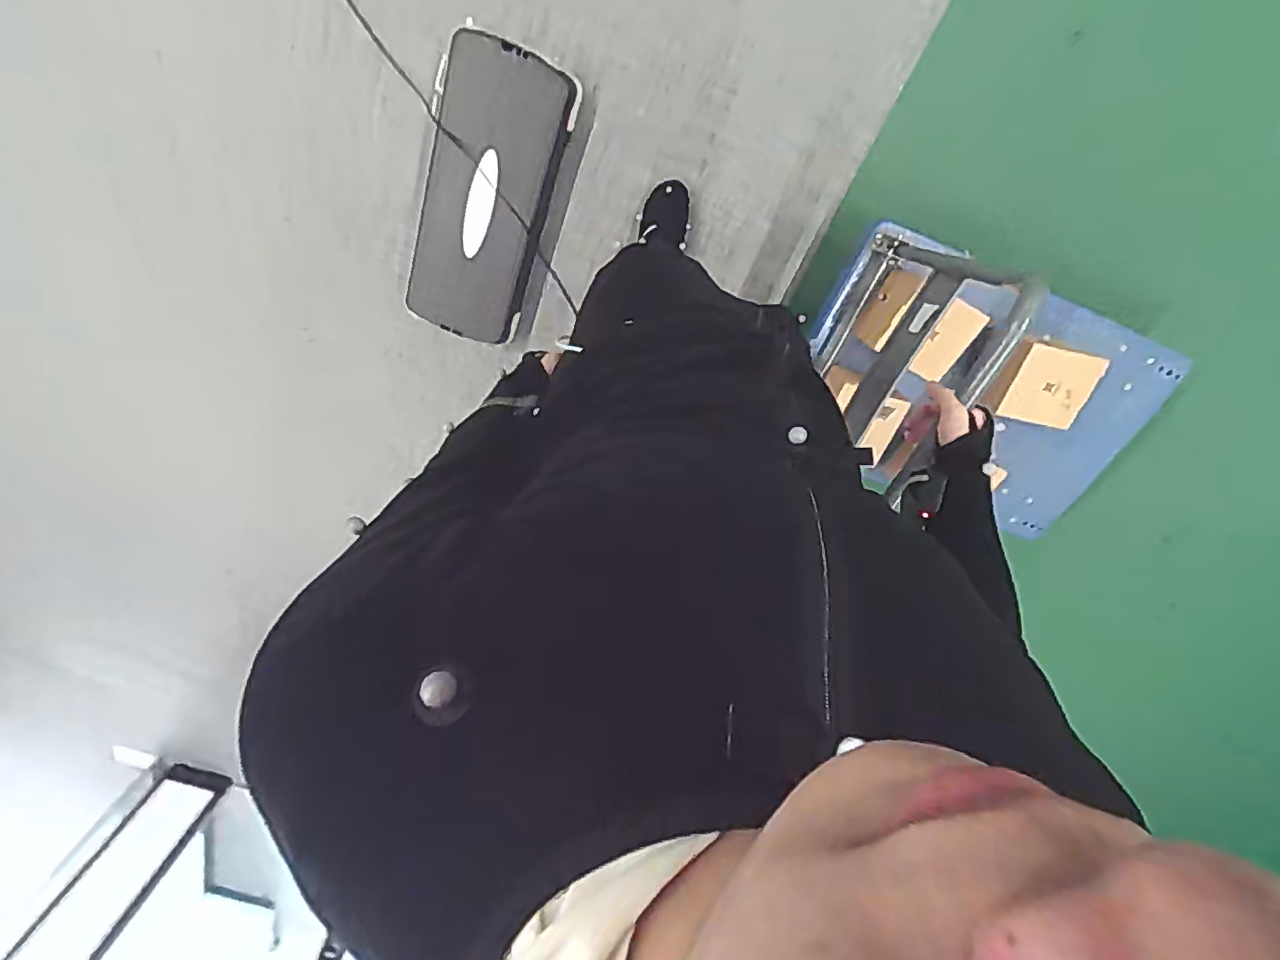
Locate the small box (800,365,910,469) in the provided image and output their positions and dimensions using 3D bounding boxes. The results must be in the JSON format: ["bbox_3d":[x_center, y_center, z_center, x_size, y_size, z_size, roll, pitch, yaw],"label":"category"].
[{"bbox_3d":[0.506,-0.159,1.306,0.168,0.176,0.179,17,119,-5],"label":"small box"}]

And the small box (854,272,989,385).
[{"bbox_3d":[0.613,-0.343,1.203,0.179,0.176,0.168,26,117,-10],"label":"small box"}]

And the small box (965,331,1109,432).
[{"bbox_3d":[0.894,-0.233,1.242,0.179,0.176,0.168,12,119,-3],"label":"small box"}]
